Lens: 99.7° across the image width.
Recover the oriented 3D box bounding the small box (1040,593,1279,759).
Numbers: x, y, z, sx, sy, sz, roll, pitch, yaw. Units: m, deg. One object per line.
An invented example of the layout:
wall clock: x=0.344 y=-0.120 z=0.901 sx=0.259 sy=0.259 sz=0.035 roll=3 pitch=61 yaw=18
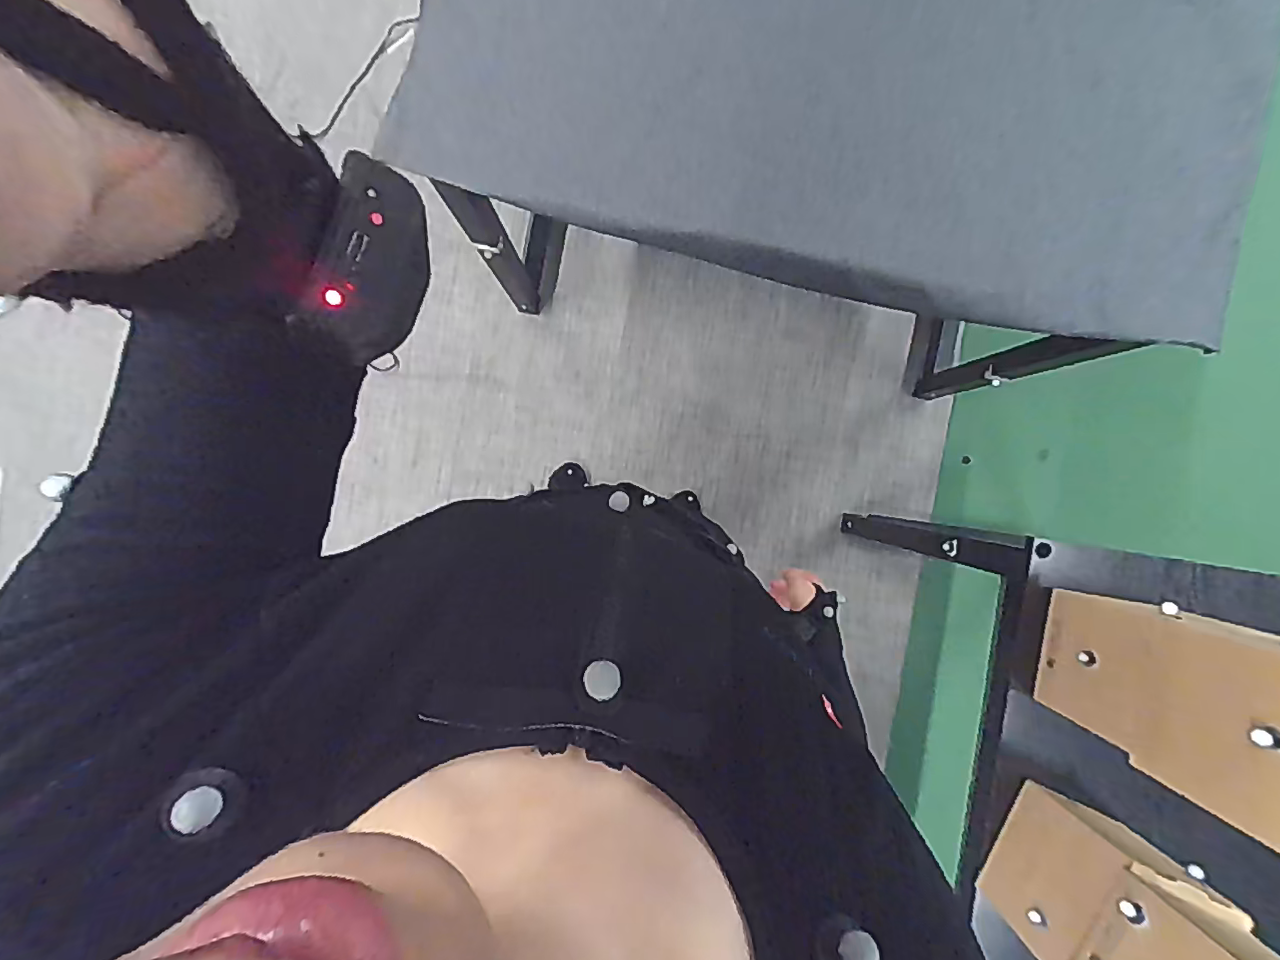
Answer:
small box: x=0.667 y=0.252 z=0.696 sx=0.179 sy=0.176 sz=0.168 roll=10 pitch=92 yaw=-1

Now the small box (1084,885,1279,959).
small box: x=0.592 y=0.557 z=0.536 sx=0.179 sy=0.176 sz=0.168 roll=28 pitch=91 yaw=-2

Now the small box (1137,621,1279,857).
small box: x=0.652 y=0.258 z=0.534 sx=0.168 sy=0.176 sz=0.179 roll=10 pitch=90 yaw=0
